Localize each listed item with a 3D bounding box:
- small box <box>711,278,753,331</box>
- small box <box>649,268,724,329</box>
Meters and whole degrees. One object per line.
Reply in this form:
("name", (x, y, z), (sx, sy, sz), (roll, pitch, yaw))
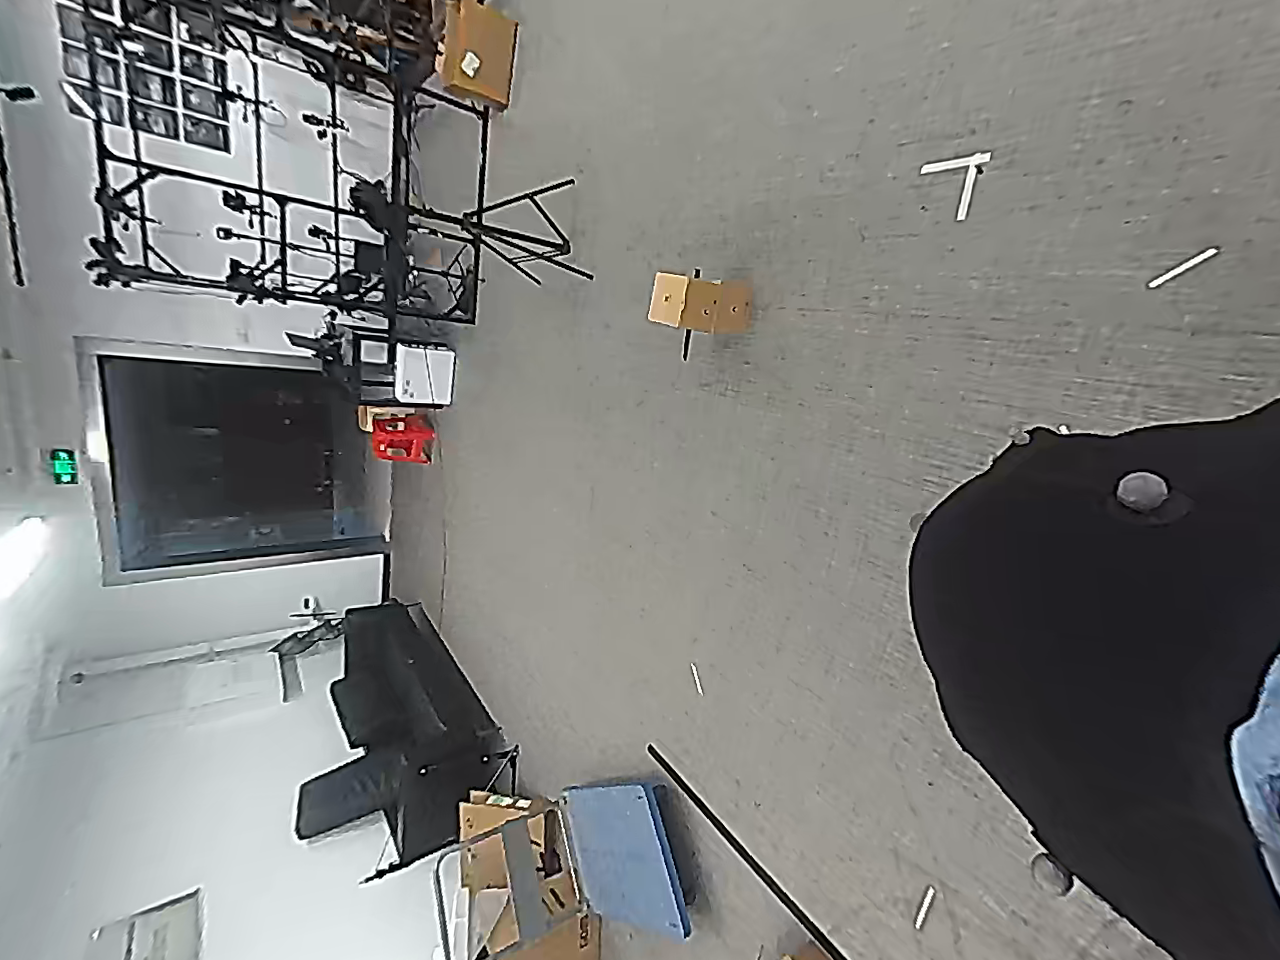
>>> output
("small box", (0.290, -0.644, 1.984), (0.179, 0.176, 0.168), (24, 111, 50))
("small box", (0.162, -0.629, 1.884), (0.179, 0.176, 0.168), (32, 118, 46))
